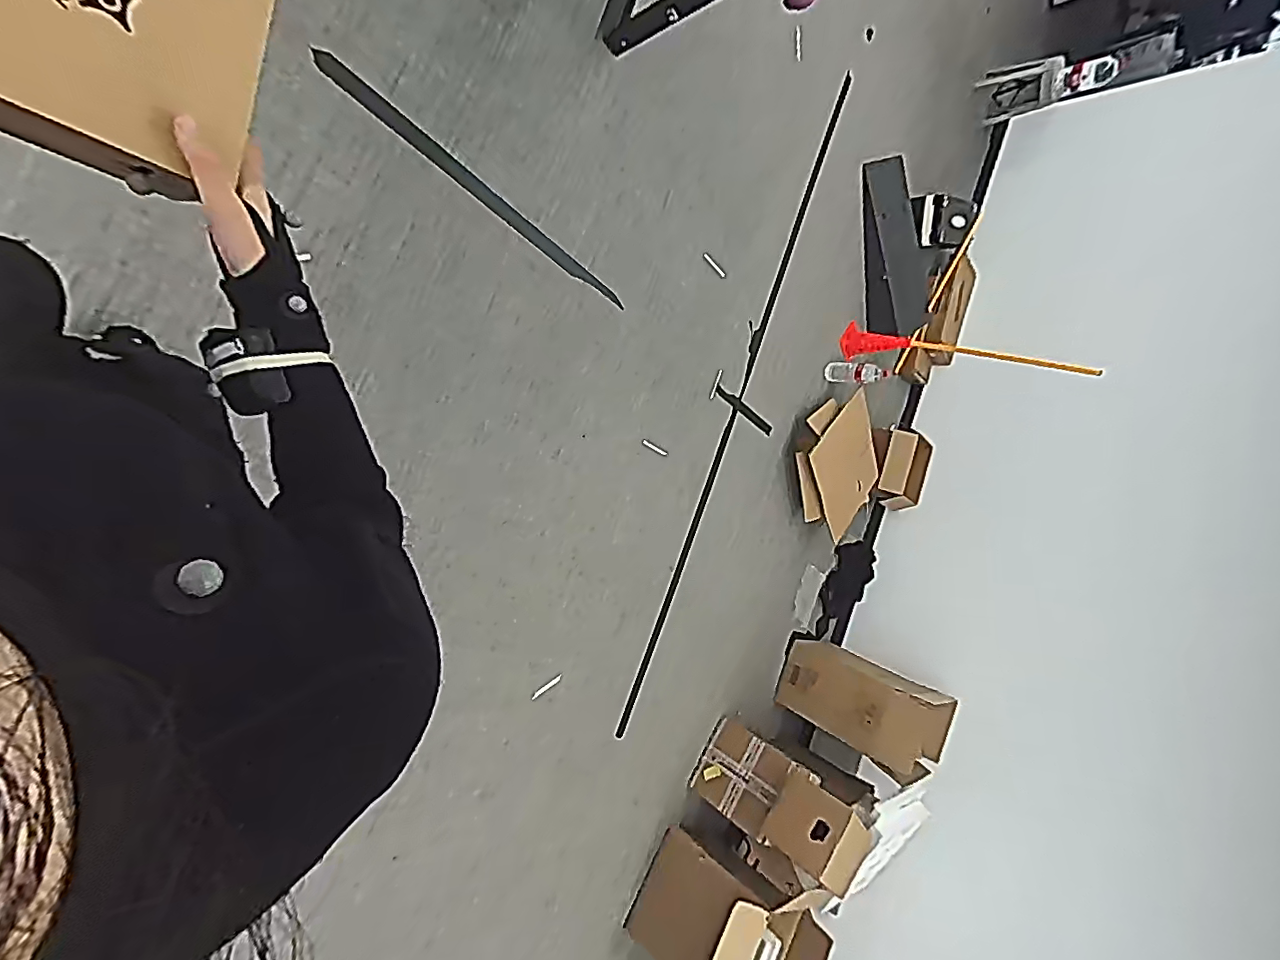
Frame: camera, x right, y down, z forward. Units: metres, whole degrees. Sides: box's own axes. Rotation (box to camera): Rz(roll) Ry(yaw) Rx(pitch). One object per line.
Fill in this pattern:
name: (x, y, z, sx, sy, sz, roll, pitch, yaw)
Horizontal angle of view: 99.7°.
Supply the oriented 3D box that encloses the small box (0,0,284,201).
small box: (-0.390, -0.320, 0.377, 0.179, 0.176, 0.168, 9, 99, -53)
